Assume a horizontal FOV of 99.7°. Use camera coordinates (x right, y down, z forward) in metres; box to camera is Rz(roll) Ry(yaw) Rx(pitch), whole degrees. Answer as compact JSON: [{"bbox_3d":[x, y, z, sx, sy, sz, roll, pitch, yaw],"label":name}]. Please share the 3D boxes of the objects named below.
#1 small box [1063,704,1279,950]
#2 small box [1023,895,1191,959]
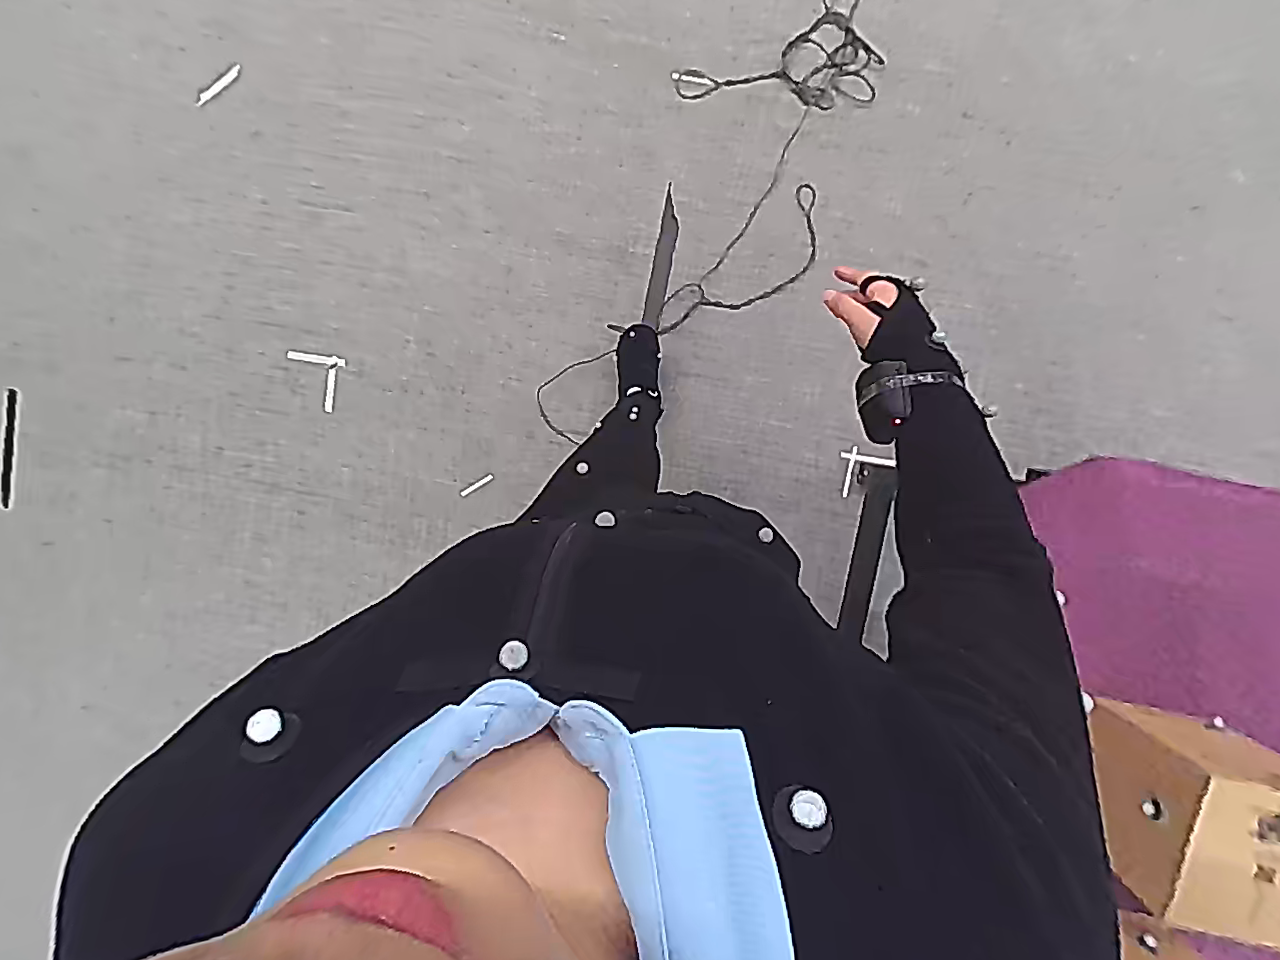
[{"bbox_3d":[0.655,0.396,0.642,0.168,0.176,0.179,11,96,4],"label":"small box"},{"bbox_3d":[0.609,0.676,0.668,0.168,0.176,0.179,12,95,4],"label":"small box"}]
